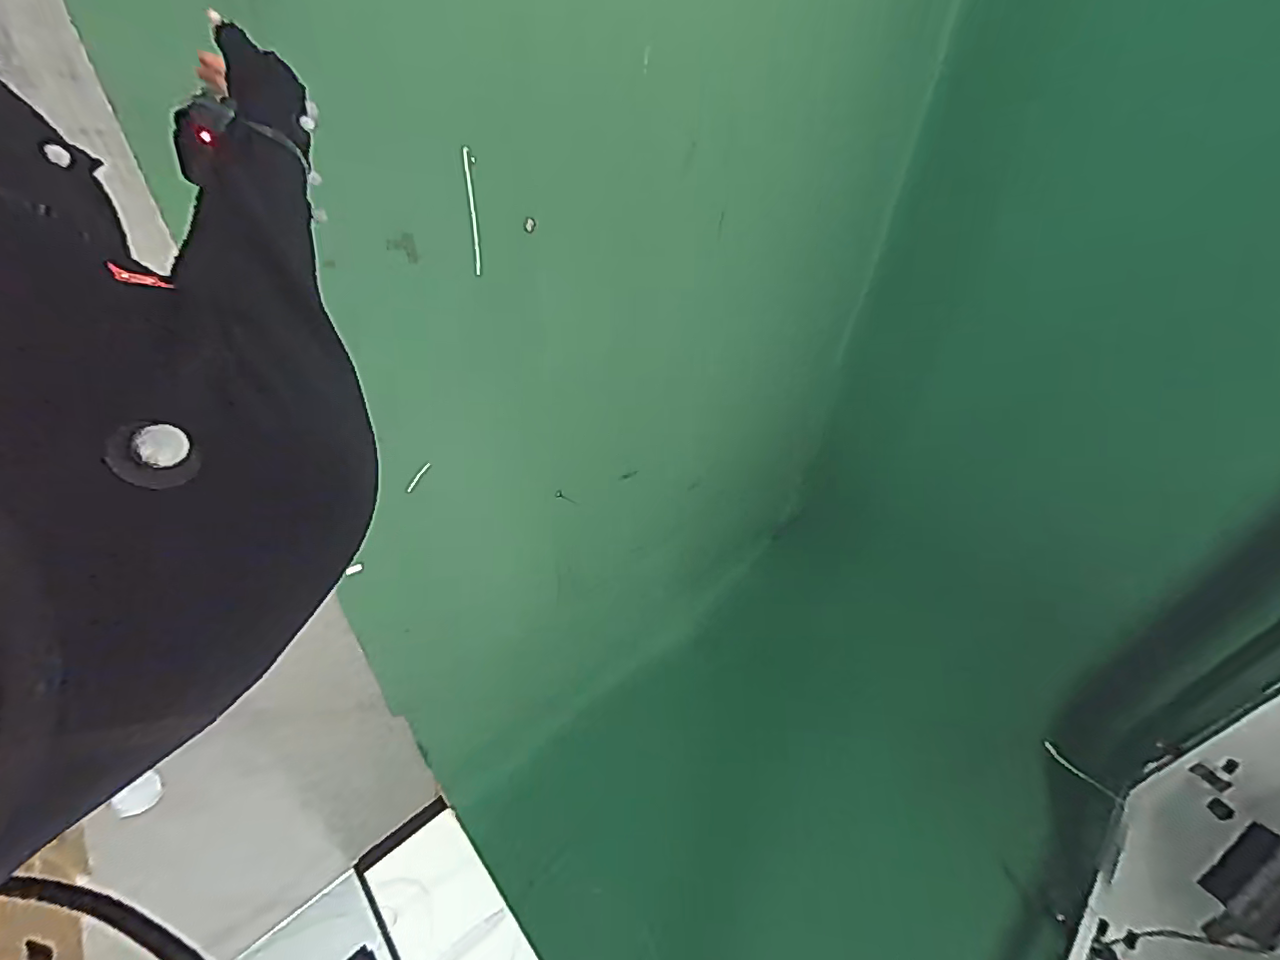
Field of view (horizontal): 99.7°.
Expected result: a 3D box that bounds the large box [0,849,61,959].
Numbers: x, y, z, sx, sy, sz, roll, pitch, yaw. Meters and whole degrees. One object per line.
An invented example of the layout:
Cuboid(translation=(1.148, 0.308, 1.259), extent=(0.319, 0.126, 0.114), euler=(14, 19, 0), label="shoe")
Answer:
Cuboid(translation=(-1.436, 0.980, 1.005), extent=(0.408, 0.320, 0.320), euler=(-29, 139, -34), label="large box")
